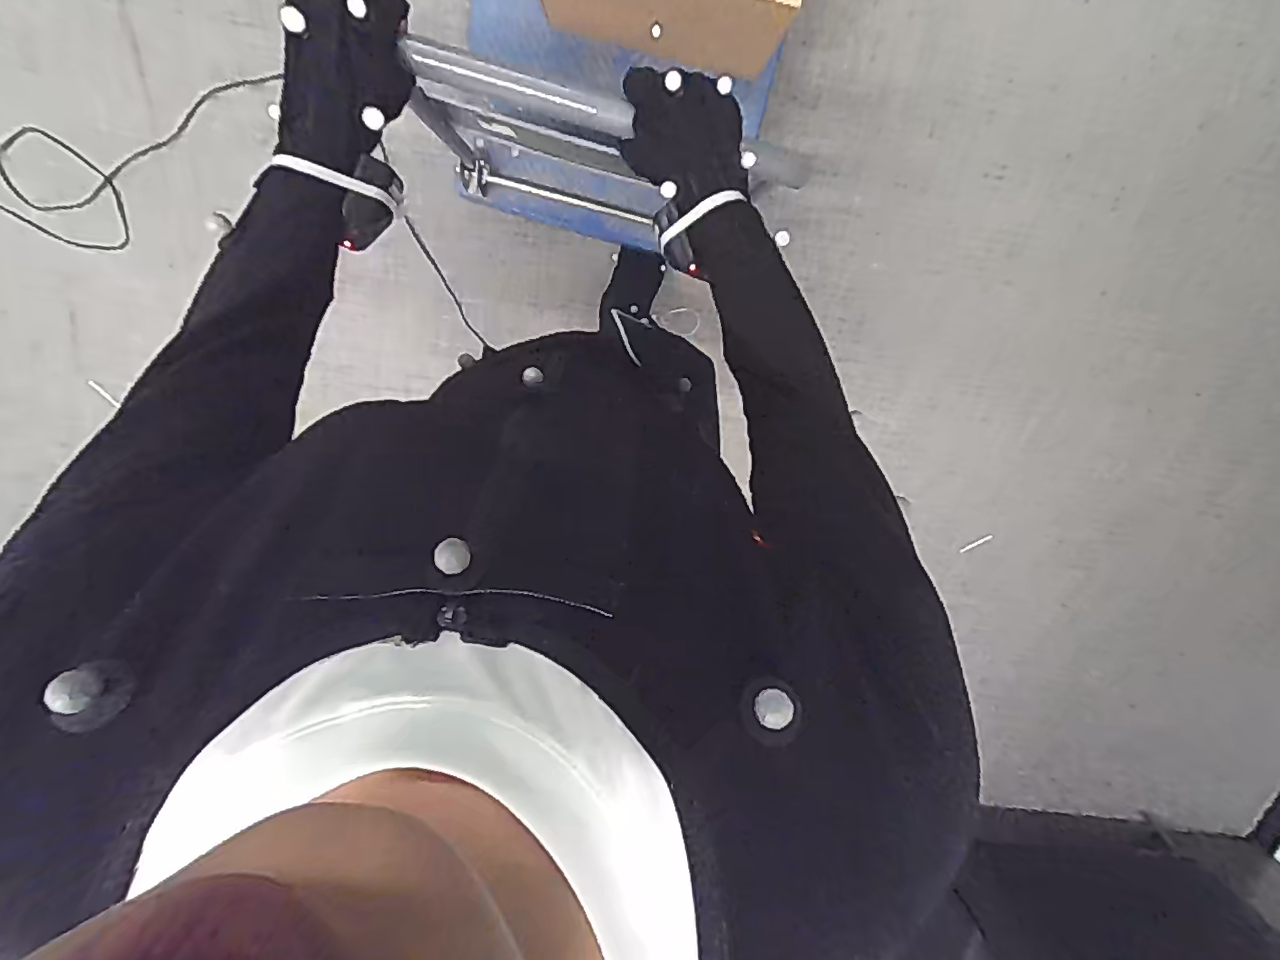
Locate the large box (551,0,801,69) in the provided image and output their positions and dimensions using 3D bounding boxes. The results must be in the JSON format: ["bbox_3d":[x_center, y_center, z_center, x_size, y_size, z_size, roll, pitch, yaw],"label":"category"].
[{"bbox_3d":[0.067,-0.909,0.846,0.408,0.320,0.320,11,110,-4],"label":"large box"}]
